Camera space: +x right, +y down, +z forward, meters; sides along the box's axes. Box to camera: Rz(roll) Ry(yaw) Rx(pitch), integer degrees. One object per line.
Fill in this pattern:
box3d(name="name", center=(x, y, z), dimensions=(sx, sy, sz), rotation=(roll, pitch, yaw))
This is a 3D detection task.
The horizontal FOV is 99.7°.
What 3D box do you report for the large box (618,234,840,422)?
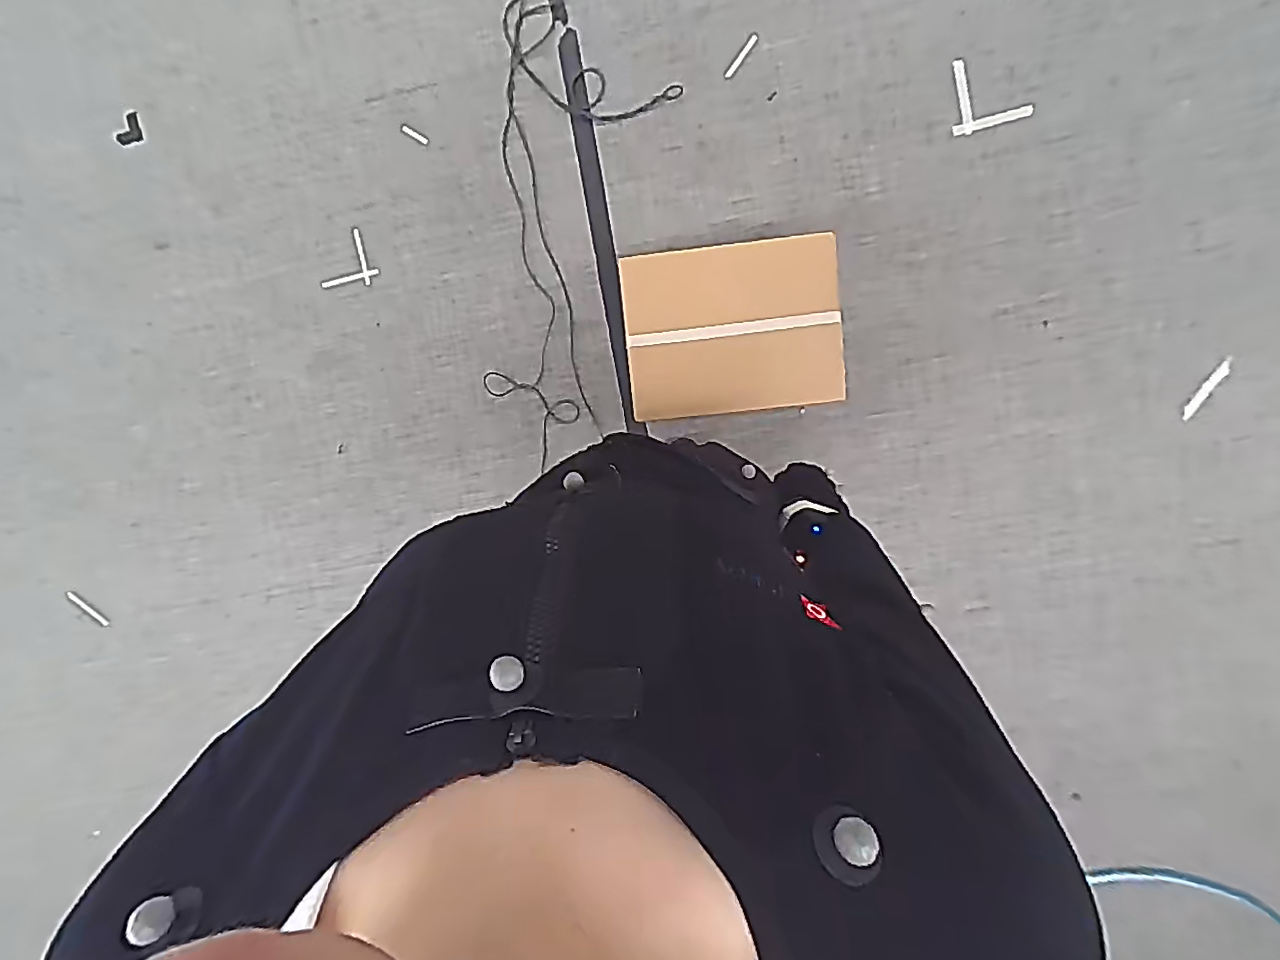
box3d(name="large box", center=(0.181, -0.302, 1.179), dimensions=(0.408, 0.320, 0.320), rotation=(-5, 95, 4))
